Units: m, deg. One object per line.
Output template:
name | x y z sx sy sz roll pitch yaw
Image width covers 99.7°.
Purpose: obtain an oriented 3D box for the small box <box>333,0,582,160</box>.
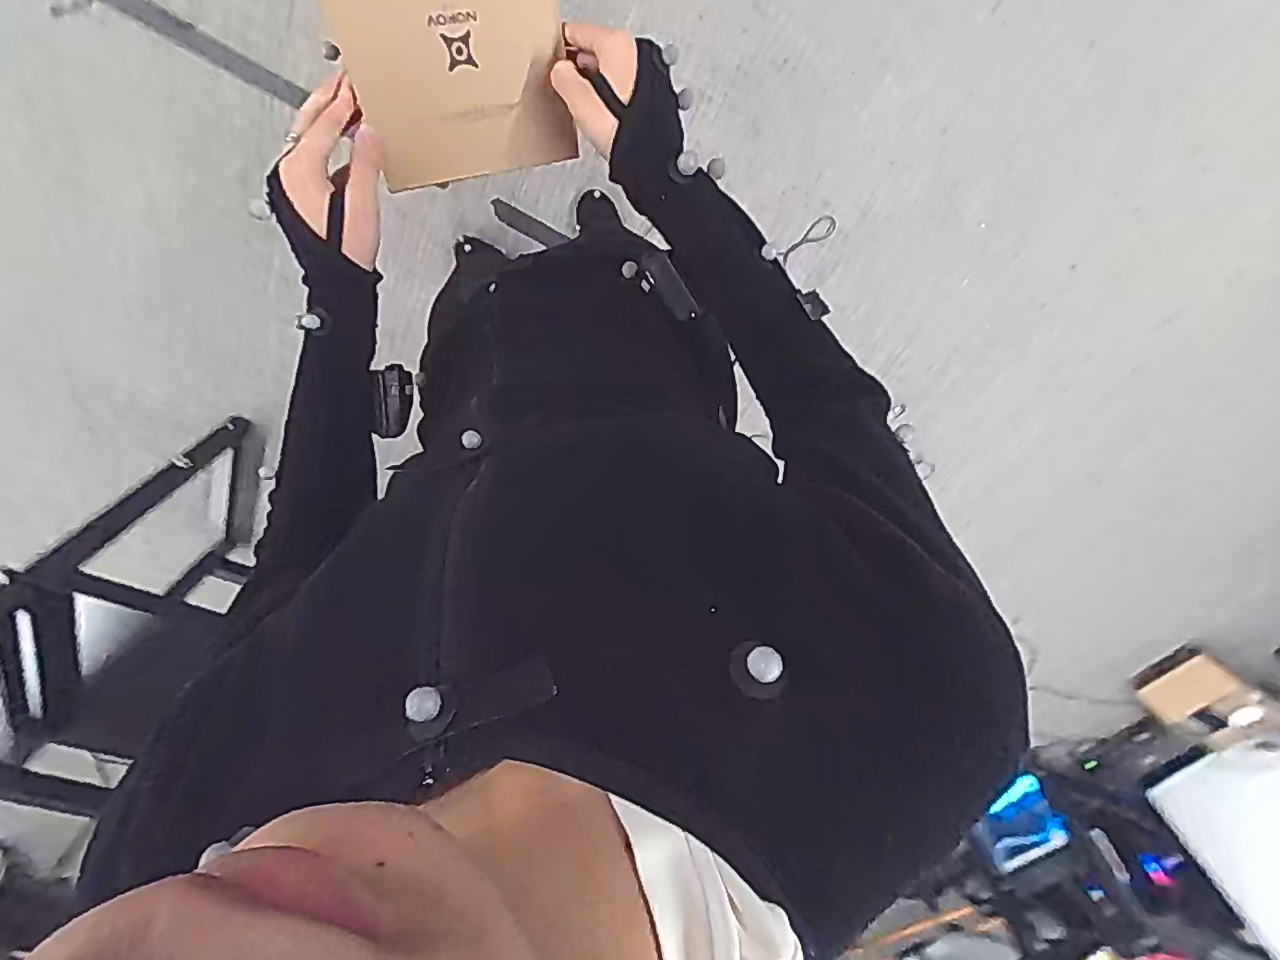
small box | -0.159 -0.385 0.445 0.168 0.176 0.179 -17 133 -13
